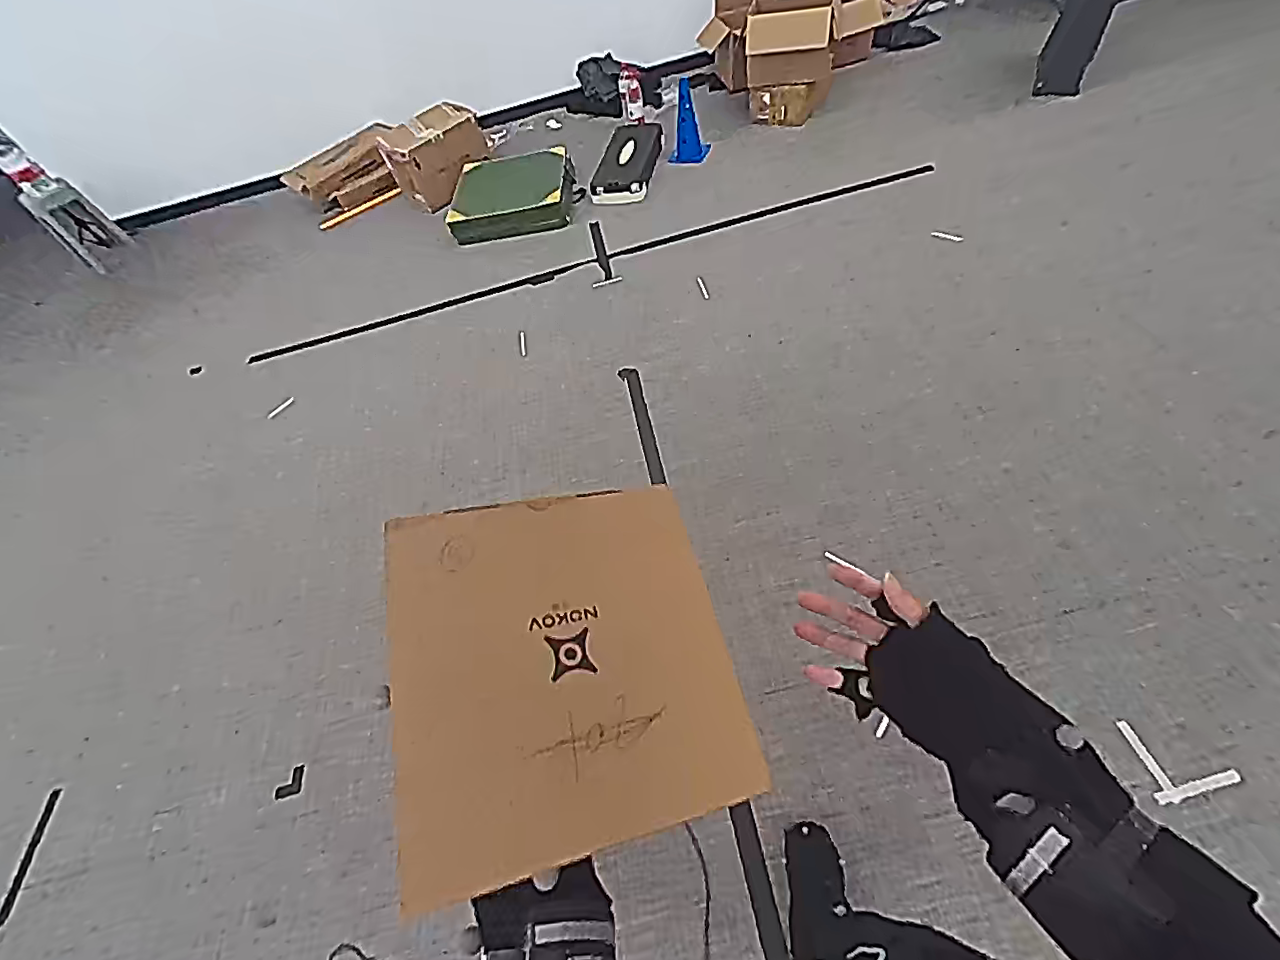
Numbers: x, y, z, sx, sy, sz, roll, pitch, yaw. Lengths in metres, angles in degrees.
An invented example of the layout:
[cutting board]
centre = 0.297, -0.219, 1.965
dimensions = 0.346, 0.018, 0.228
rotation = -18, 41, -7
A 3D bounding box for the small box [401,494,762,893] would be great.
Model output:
[small box]
centre = -0.055, 0.131, 0.348
dimensions = 0.168, 0.176, 0.179
rotation = -6, 60, -20
